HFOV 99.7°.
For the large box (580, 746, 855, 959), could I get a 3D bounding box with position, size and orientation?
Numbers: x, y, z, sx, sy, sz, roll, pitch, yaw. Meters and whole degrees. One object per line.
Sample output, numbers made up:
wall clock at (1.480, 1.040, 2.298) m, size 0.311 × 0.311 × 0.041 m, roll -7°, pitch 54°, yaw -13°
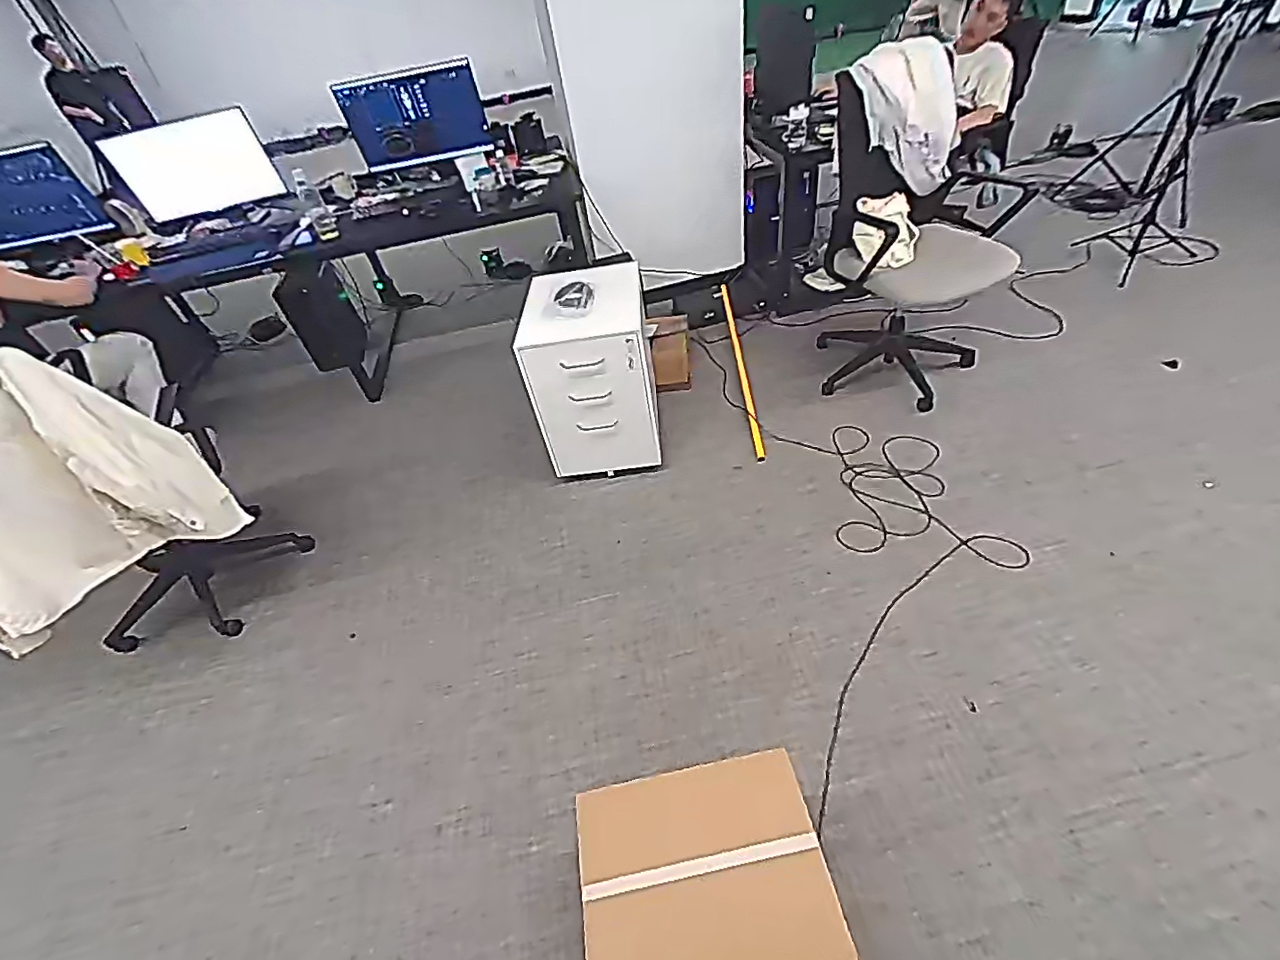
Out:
large box at (0.124, 0.754, 1.006) m, size 0.408 × 0.320 × 0.320 m, roll -12°, pitch 44°, yaw -1°
